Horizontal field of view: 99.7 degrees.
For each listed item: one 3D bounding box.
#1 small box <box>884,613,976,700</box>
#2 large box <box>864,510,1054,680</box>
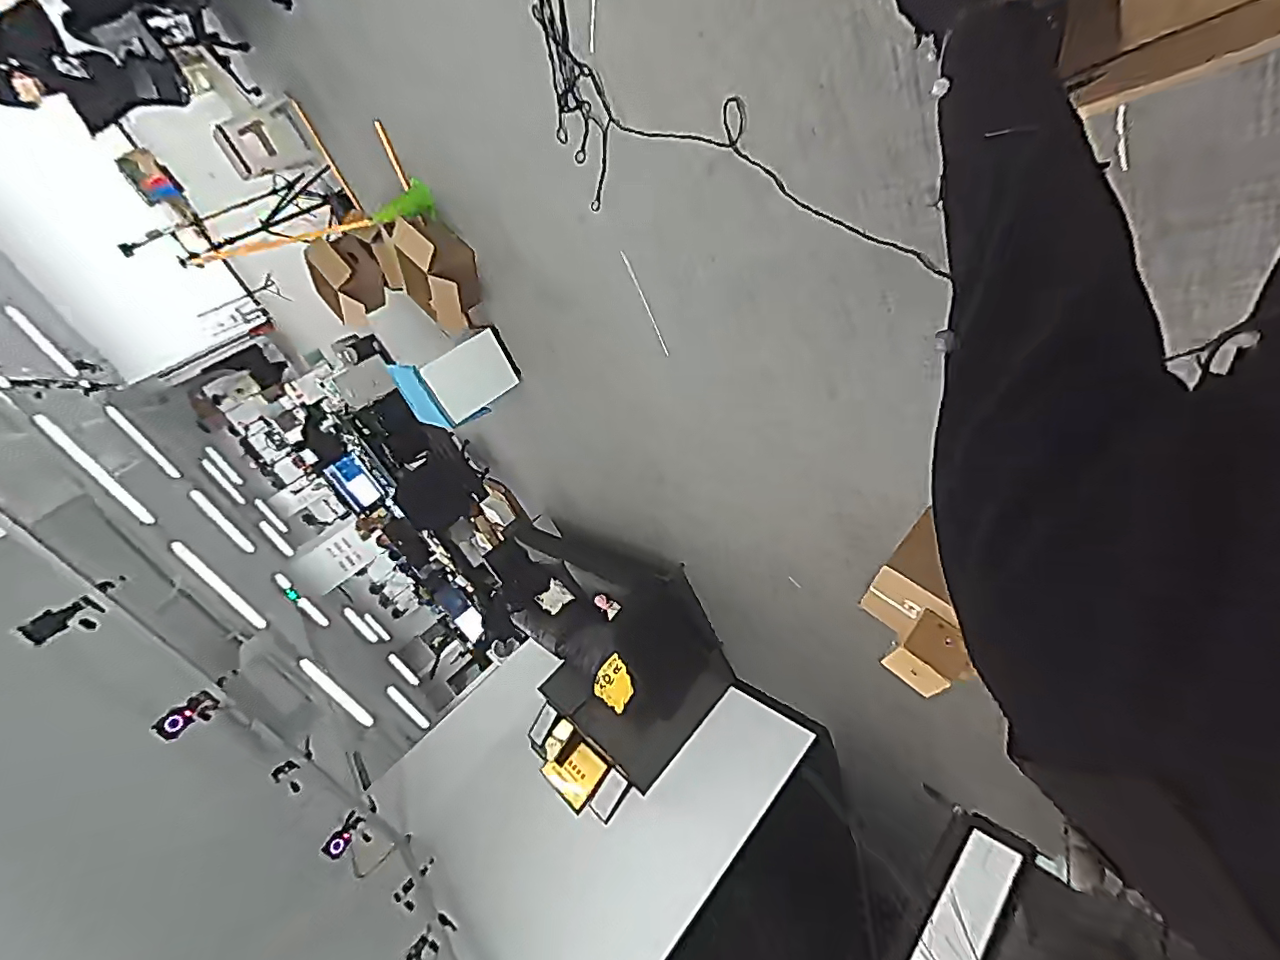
[{"bbox_3d":[0.909,0.550,1.693,0.168,0.176,0.179,38,154,24],"label":"small box"},{"bbox_3d":[1.045,0.378,1.808,0.408,0.320,0.320,37,152,28],"label":"large box"}]
